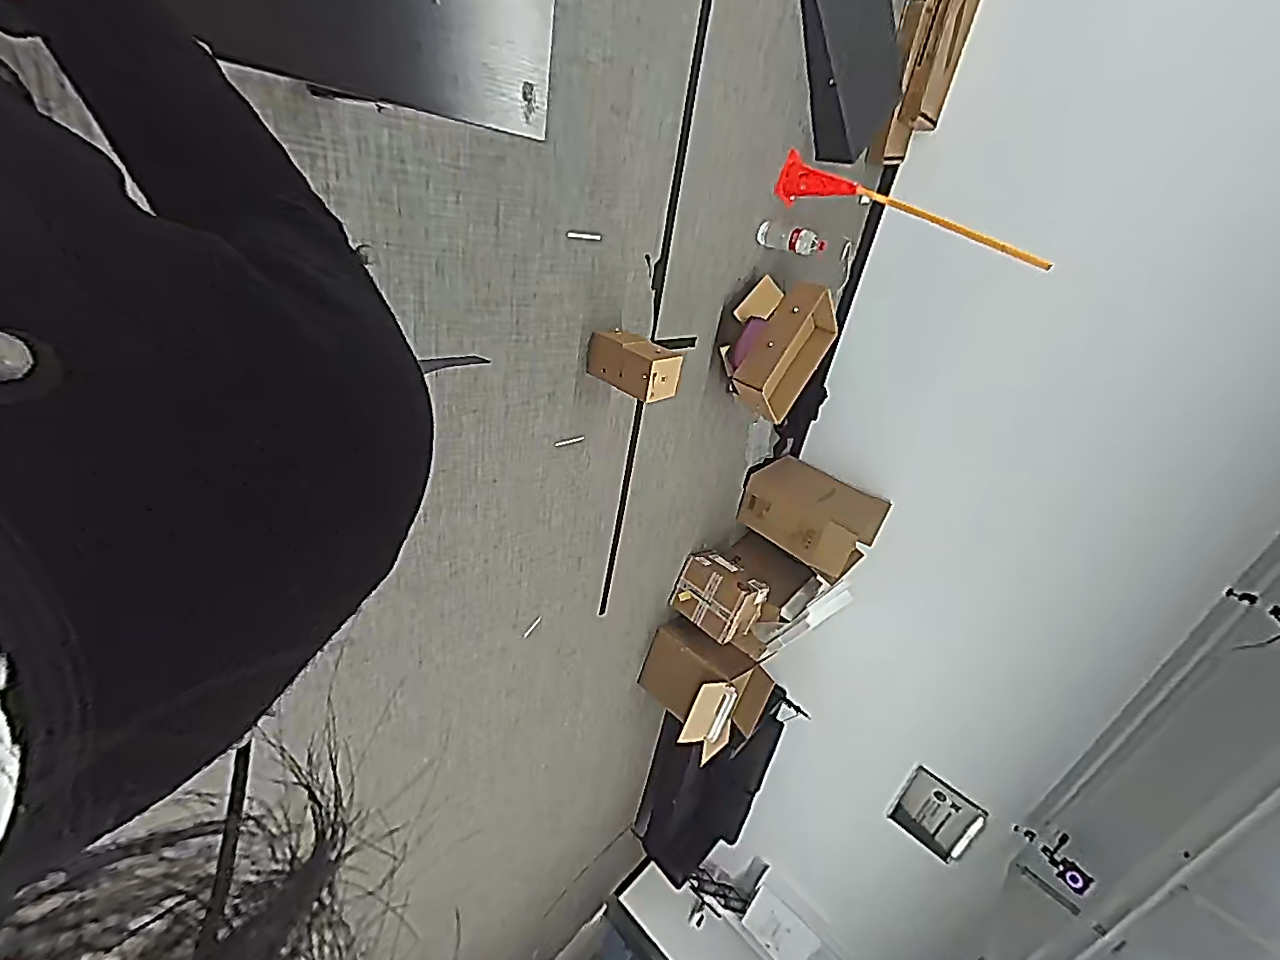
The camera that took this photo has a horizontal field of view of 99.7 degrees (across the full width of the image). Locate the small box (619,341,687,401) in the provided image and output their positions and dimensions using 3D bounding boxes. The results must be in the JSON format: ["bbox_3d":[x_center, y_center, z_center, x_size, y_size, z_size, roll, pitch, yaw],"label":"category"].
[{"bbox_3d":[0.046,-0.417,2.038,0.179,0.176,0.168,-23,134,-44],"label":"small box"}]

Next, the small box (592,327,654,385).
[{"bbox_3d":[-0.071,-0.491,2.127,0.168,0.176,0.179,-21,131,-44],"label":"small box"}]
